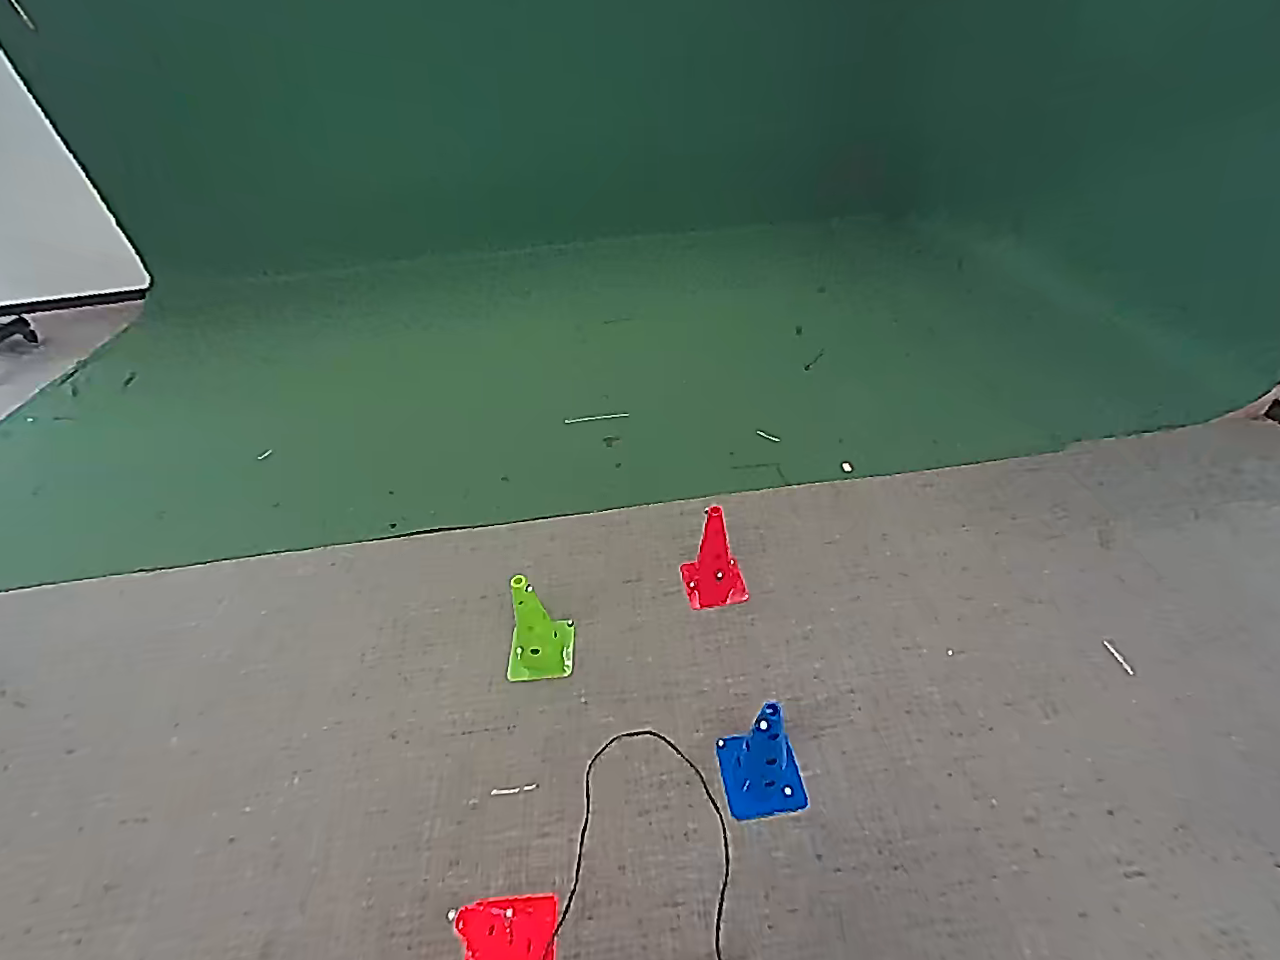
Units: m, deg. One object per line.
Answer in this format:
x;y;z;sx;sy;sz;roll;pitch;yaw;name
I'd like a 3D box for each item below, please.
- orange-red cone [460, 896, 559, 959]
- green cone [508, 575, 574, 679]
-0.287;0.890;1.053;0.198;0.360;0.199;-3;40;1;orange-red cone
-0.325;0.404;1.599;0.200;0.368;0.202;-6;42;0;green cone
